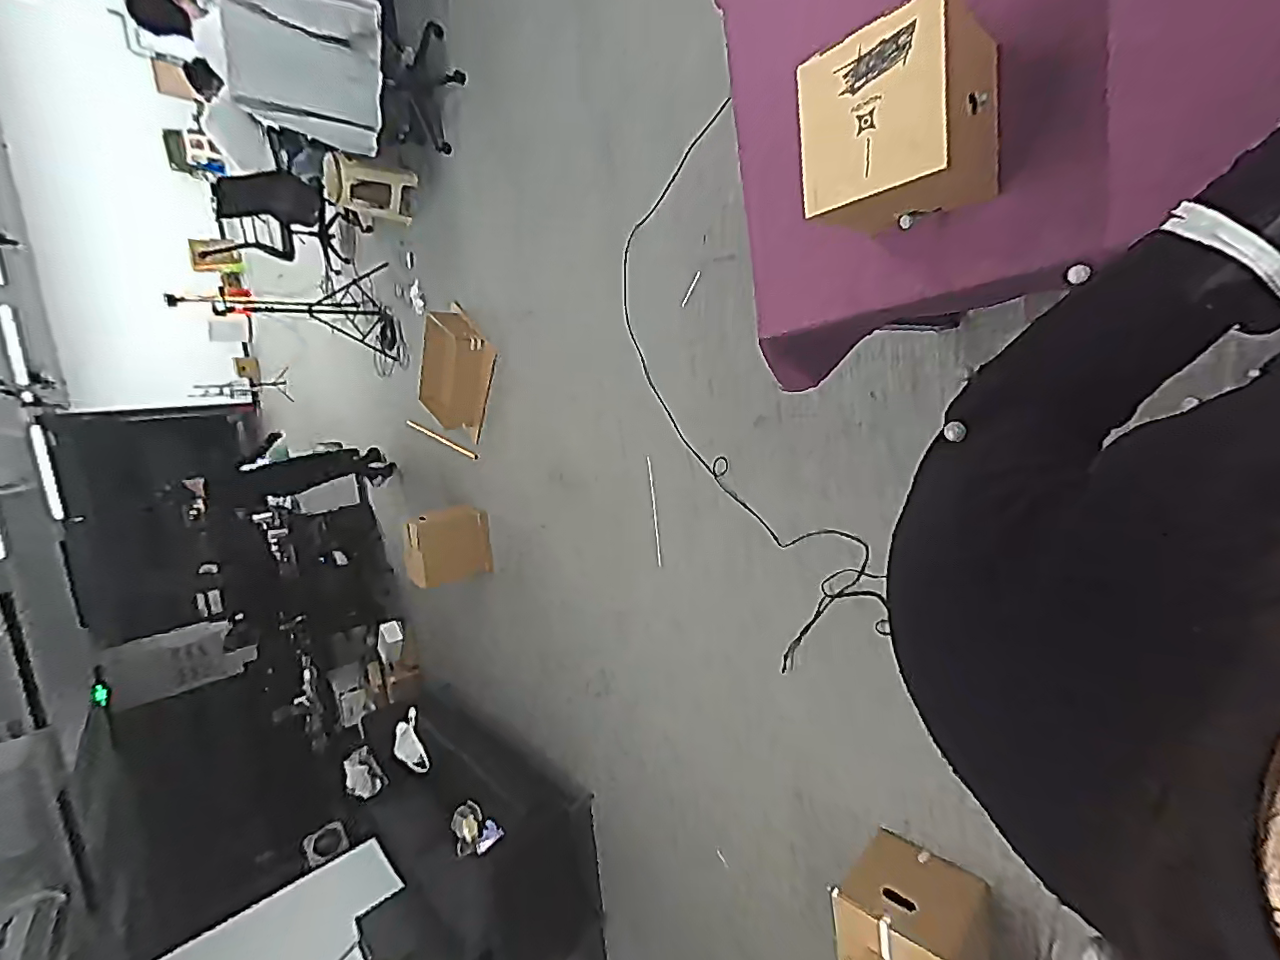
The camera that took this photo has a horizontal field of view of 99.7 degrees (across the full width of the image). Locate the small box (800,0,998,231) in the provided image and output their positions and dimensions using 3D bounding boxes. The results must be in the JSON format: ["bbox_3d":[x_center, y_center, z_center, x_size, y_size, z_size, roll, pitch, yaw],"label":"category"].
[{"bbox_3d":[0.313,-0.422,0.652,0.168,0.176,0.179,4,103,48],"label":"small box"}]
